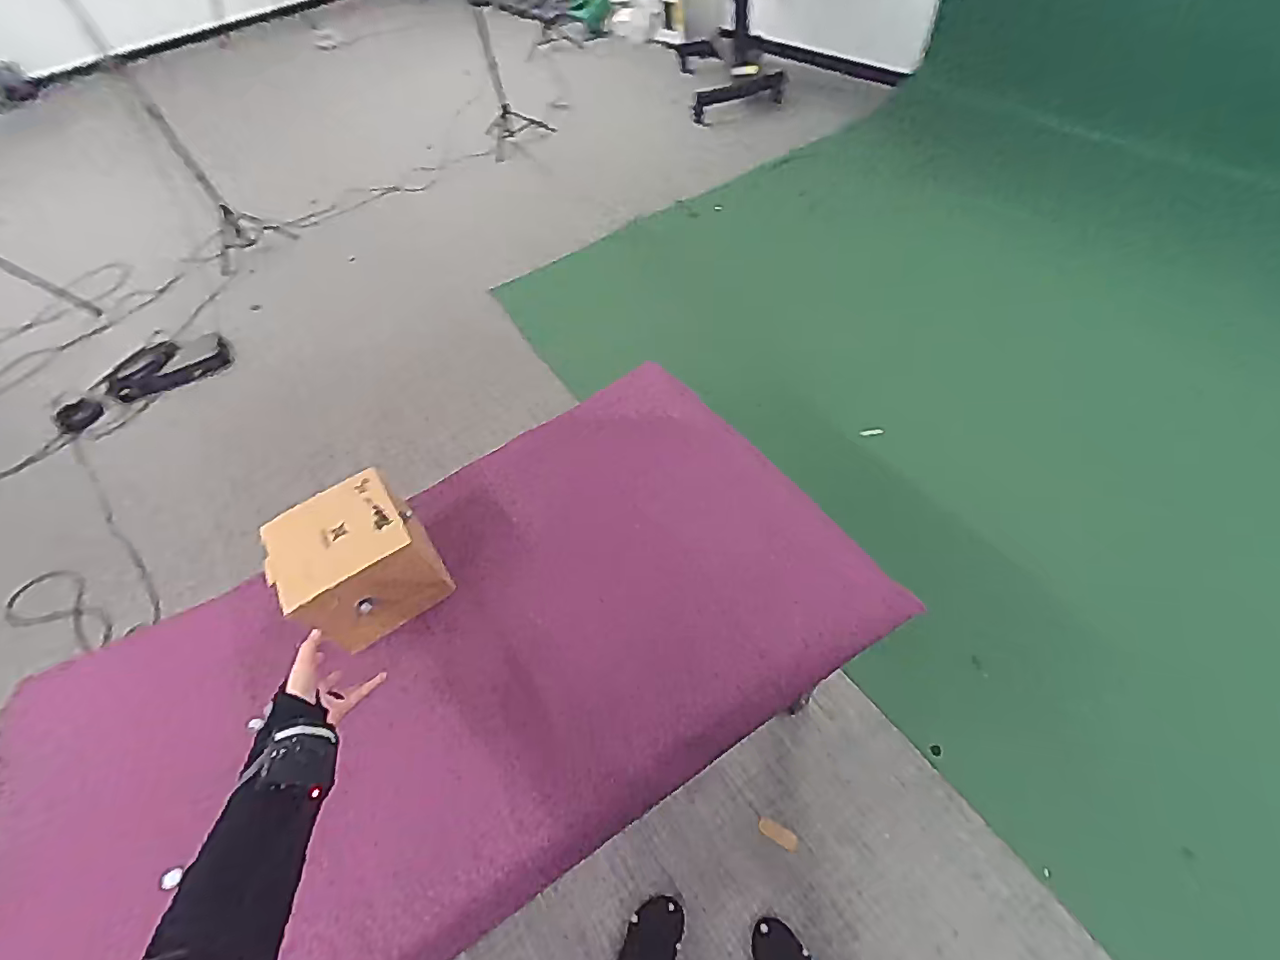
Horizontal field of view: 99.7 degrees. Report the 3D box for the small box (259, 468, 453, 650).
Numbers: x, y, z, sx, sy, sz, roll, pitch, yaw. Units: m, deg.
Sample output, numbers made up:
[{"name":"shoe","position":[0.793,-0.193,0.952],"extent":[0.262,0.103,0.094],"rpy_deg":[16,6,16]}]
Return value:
[{"name":"small box","position":[-0.414,0.123,0.806],"extent":[0.179,0.176,0.168],"rpy_deg":[-32,58,-15]}]
